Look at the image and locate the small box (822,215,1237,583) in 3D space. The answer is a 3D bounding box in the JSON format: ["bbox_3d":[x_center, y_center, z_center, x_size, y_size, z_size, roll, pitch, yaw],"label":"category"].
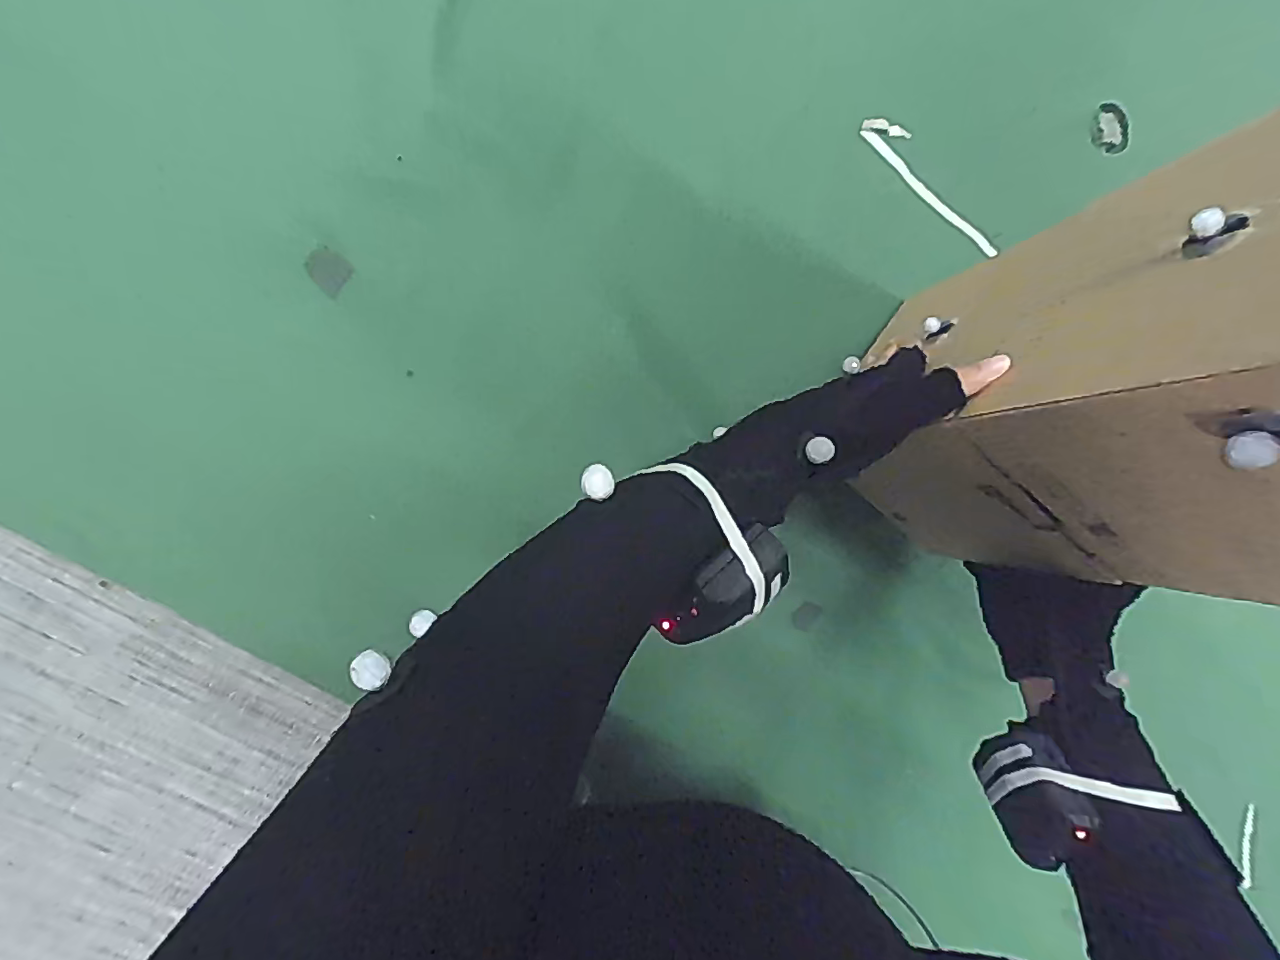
[{"bbox_3d":[0.271,-0.050,0.418,0.168,0.176,0.179,36,83,-11],"label":"small box"}]
